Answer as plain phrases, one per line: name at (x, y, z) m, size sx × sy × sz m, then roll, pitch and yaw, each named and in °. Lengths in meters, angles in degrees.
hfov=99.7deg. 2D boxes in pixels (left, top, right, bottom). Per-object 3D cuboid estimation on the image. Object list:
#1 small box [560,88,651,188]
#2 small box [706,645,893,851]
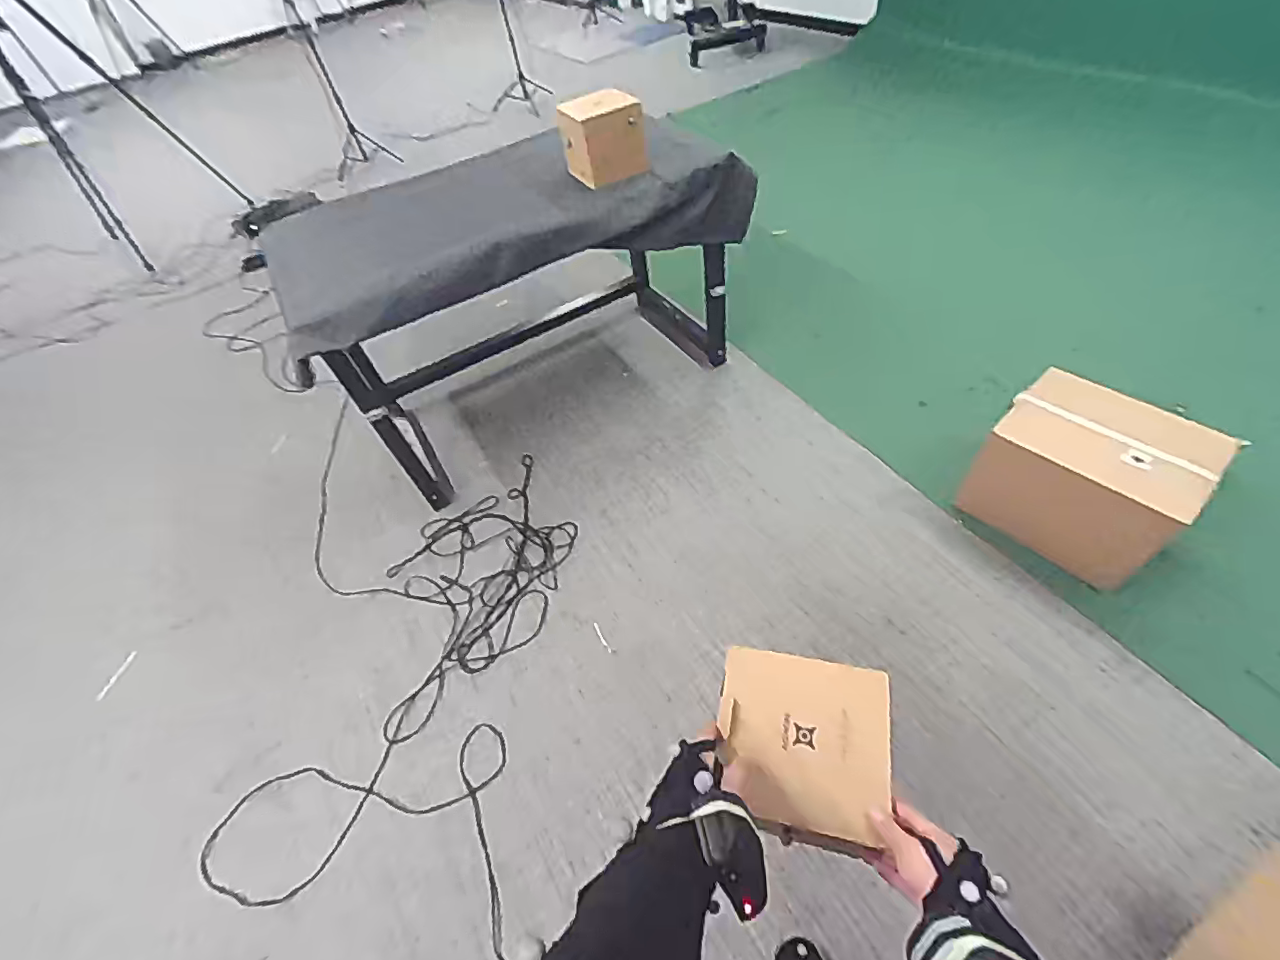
small box at (-0.088, -0.908, 1.441) m, size 0.179 × 0.176 × 0.168 m, roll -27°, pitch 52°, yaw -12°
small box at (0.177, 0.310, 0.621) m, size 0.179 × 0.176 × 0.168 m, roll 6°, pitch 56°, yaw 14°
